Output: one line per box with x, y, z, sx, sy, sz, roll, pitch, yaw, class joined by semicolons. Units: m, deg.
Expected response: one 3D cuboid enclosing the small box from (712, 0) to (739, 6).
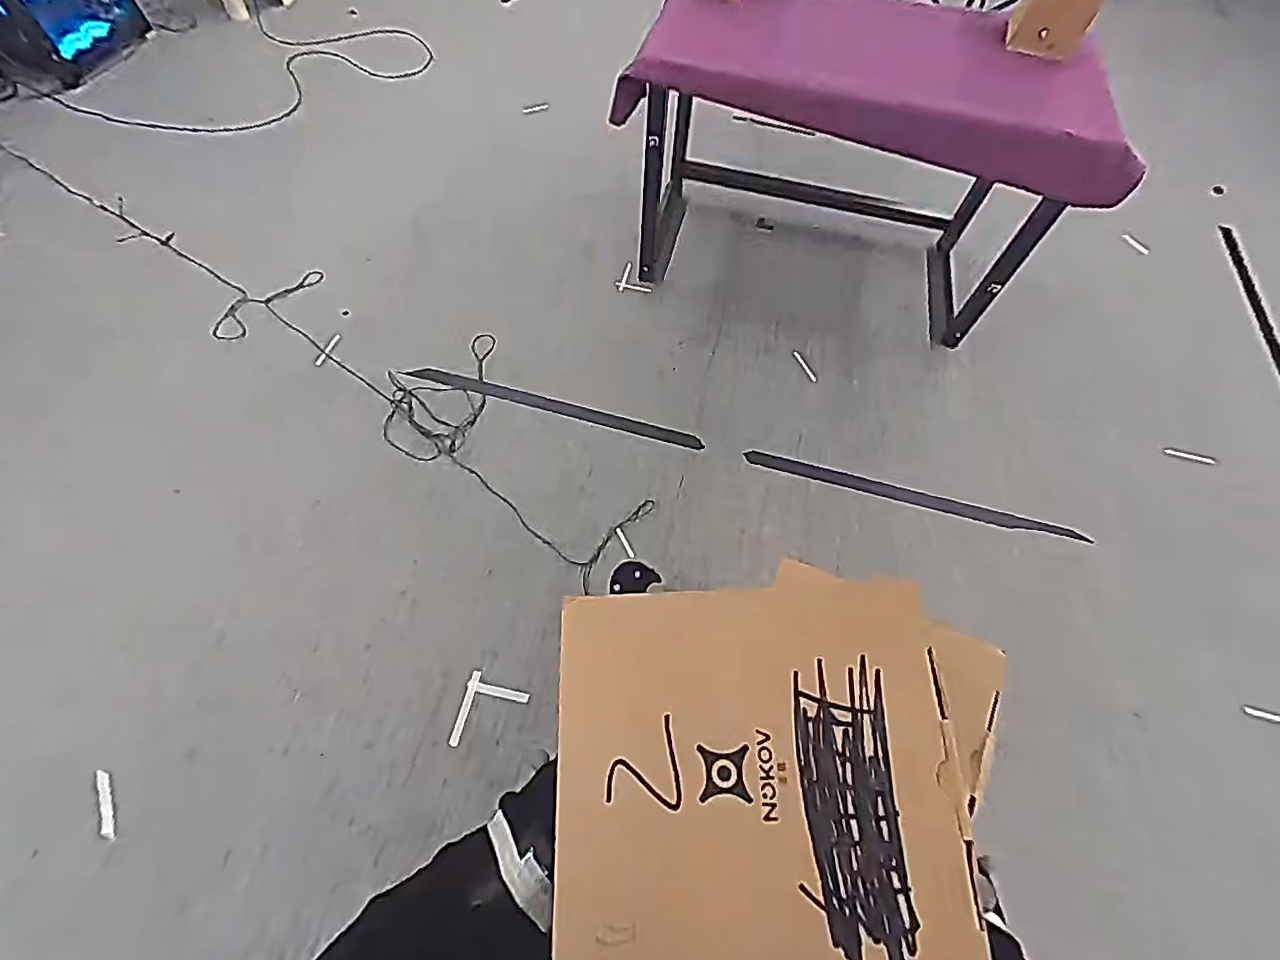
0.235;-1.513;1.547;0.168;0.176;0.179;18;64;7;small box

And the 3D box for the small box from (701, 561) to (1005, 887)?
0.166;0.199;0.470;0.179;0.176;0.168;24;67;16;small box

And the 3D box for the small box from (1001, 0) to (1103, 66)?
1.117;-1.276;1.467;0.168;0.176;0.179;18;67;7;small box
